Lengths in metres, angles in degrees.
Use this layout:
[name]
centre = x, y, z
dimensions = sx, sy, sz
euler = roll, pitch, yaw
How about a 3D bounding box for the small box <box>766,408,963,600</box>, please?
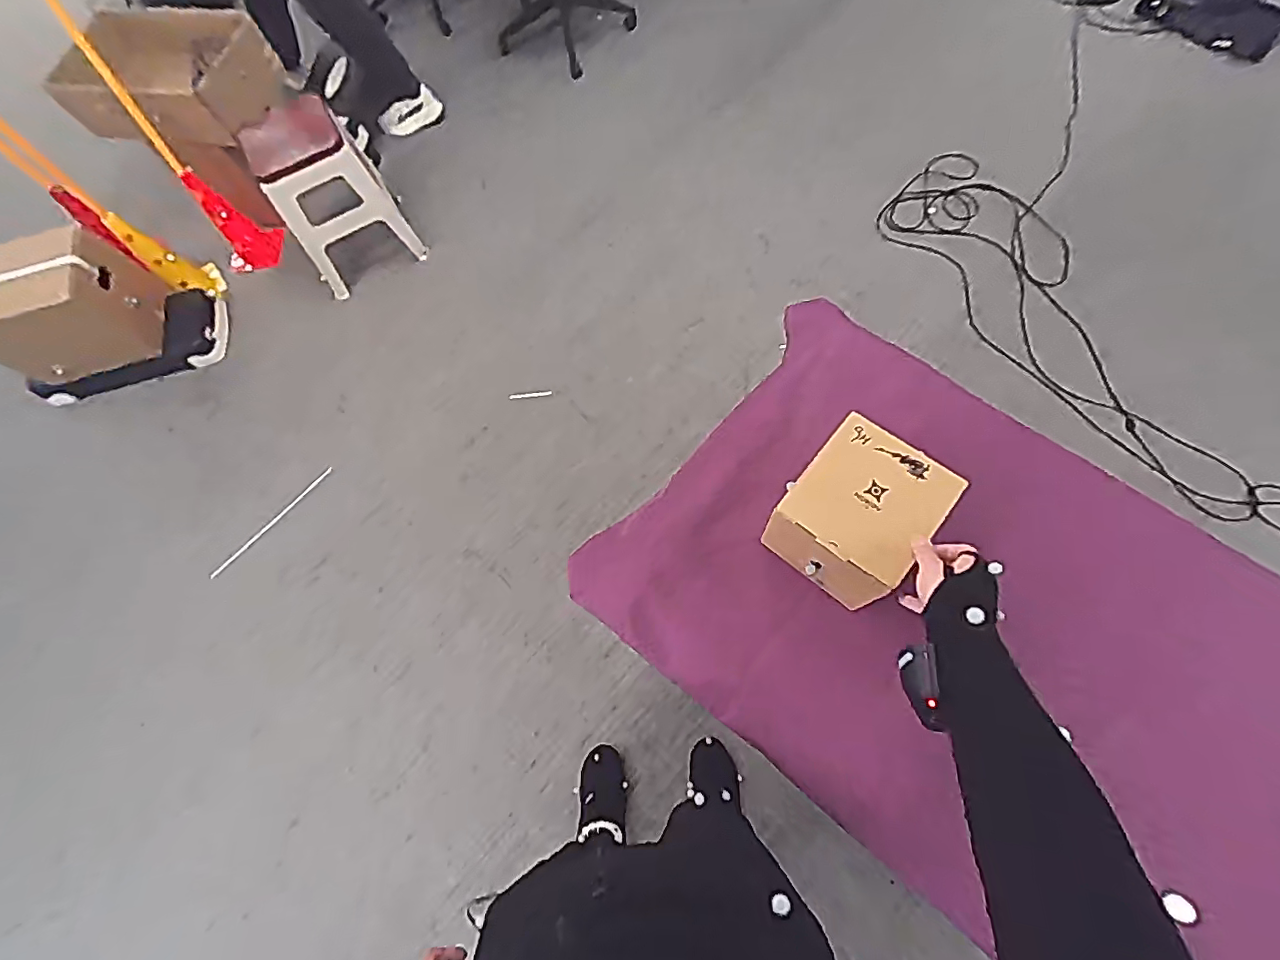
[small box]
centre = 0.288, 0.043, 0.738
dimensions = 0.168, 0.176, 0.179
euler = 38, 78, 17
